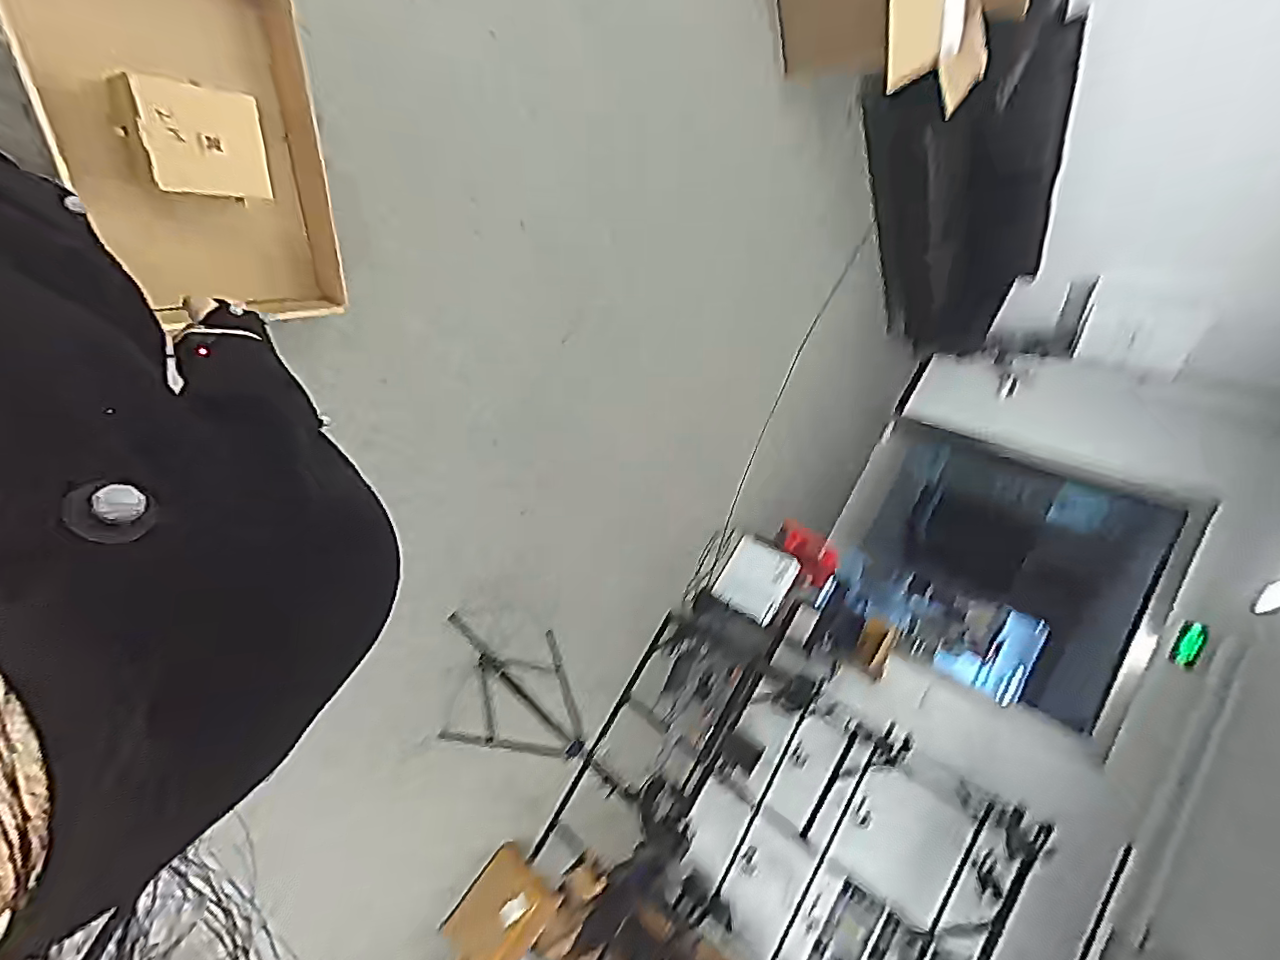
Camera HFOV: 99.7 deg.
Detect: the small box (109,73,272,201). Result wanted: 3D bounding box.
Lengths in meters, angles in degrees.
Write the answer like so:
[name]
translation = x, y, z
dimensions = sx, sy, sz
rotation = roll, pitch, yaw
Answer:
[small box]
translation = -0.810, -0.612, 0.980
dimensions = 0.179, 0.176, 0.168
rotation = -21, 126, -45
